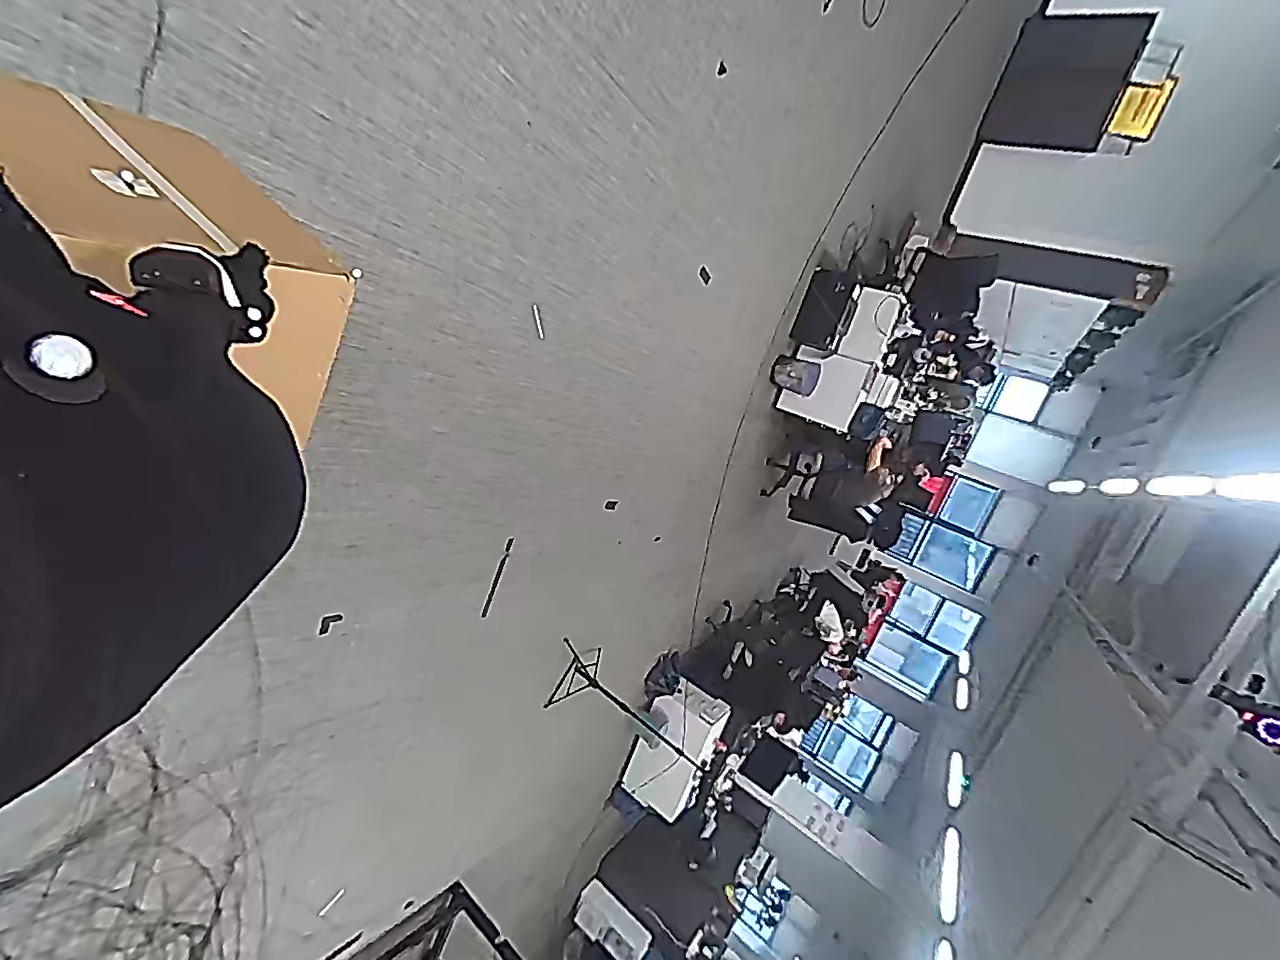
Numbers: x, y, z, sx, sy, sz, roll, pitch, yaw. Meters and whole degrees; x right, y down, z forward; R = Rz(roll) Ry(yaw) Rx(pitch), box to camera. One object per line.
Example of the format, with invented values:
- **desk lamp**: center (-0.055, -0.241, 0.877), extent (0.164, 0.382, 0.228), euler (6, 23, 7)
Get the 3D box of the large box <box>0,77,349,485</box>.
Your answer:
- **large box**: center (-0.694, -0.258, 0.724), extent (0.320, 0.408, 0.320), euler (-55, 166, 26)
